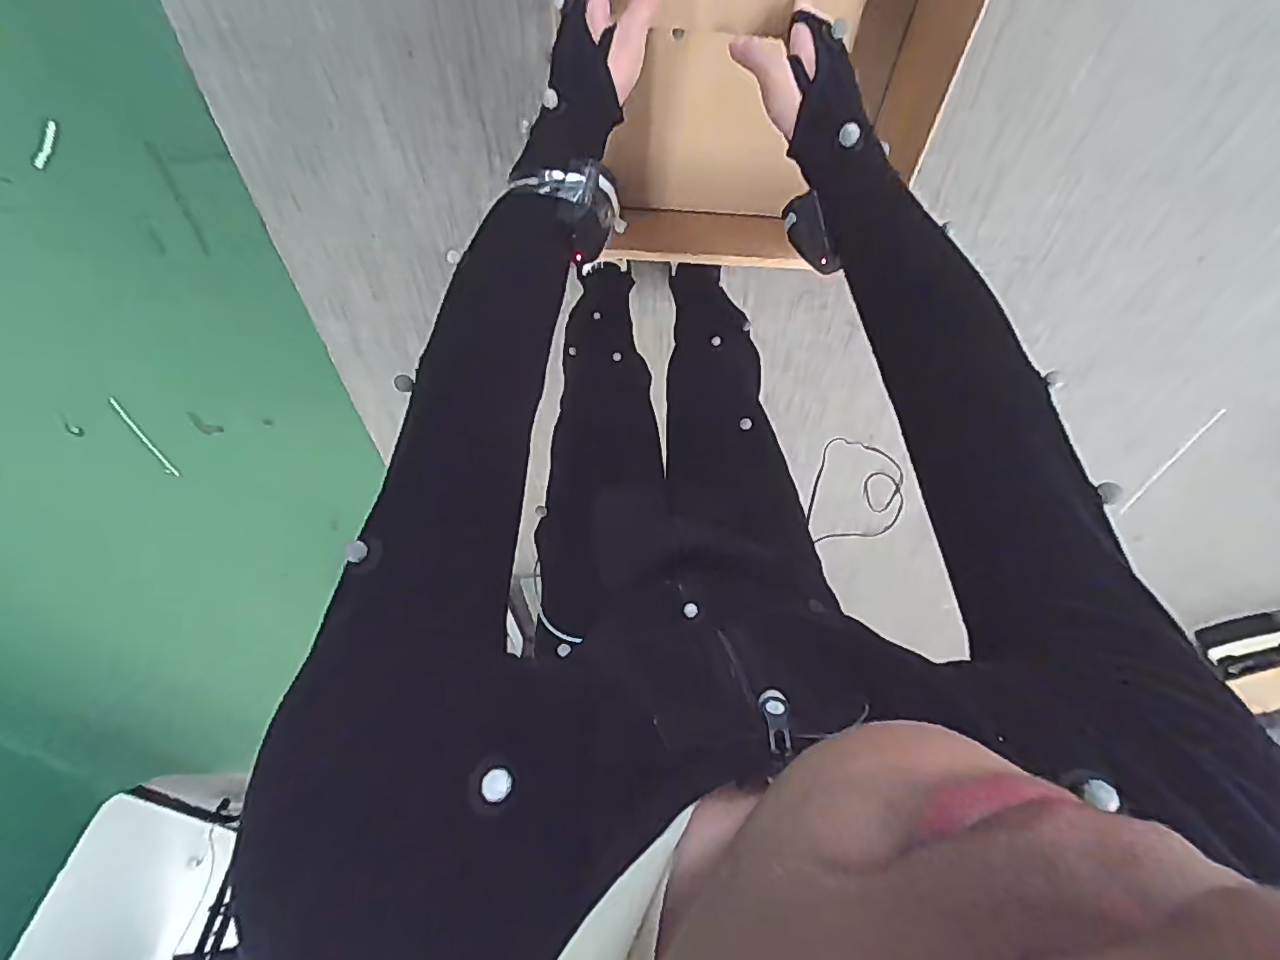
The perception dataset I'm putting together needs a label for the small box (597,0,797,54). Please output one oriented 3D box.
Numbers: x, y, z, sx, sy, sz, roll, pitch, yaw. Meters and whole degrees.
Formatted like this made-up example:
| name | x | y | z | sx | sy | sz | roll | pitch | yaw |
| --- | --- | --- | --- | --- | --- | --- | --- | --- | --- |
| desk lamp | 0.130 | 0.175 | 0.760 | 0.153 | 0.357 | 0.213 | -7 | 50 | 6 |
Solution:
| name | x | y | z | sx | sy | sz | roll | pitch | yaw |
| --- | --- | --- | --- | --- | --- | --- | --- | --- | --- |
| small box | 0.054 | -0.493 | 0.458 | 0.168 | 0.176 | 0.179 | 3 | 134 | -5 |
